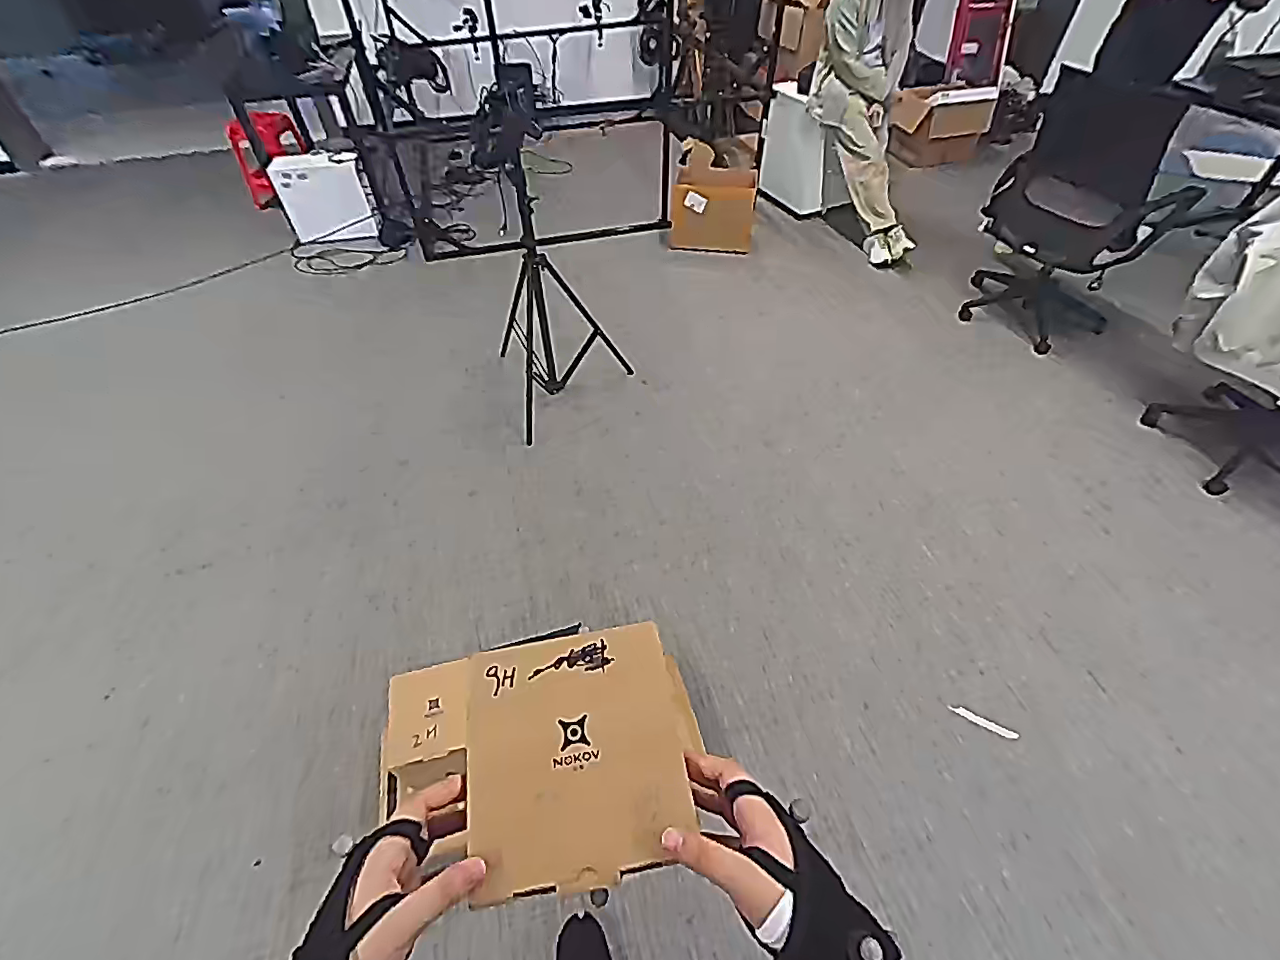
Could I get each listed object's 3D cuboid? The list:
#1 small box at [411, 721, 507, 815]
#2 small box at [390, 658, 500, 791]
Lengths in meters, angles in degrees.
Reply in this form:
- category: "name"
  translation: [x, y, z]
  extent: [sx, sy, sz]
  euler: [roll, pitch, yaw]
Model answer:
- category: "small box"
  translation: [-0.400, 0.609, 1.199]
  extent: [0.168, 0.176, 0.179]
  euler: [-13, 50, -11]
- category: "small box"
  translation: [-0.385, 0.490, 1.084]
  extent: [0.168, 0.176, 0.179]
  euler: [-12, 49, -10]
